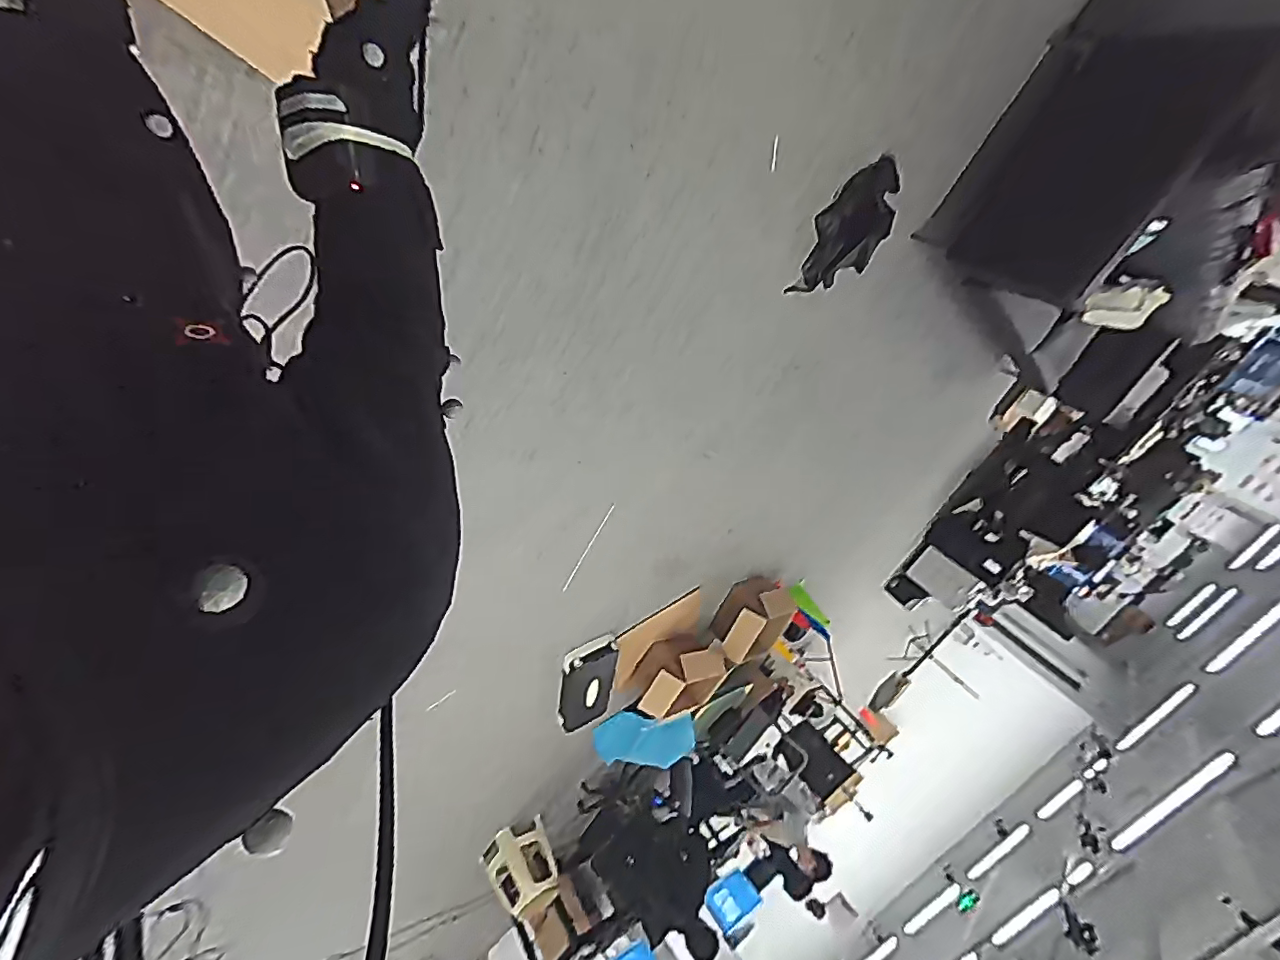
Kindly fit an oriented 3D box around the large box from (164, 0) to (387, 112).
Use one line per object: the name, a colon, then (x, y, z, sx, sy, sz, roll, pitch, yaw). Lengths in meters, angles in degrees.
large box: (-0.567, -0.781, 0.691, 0.408, 0.320, 0.320, 20, 111, -52)
